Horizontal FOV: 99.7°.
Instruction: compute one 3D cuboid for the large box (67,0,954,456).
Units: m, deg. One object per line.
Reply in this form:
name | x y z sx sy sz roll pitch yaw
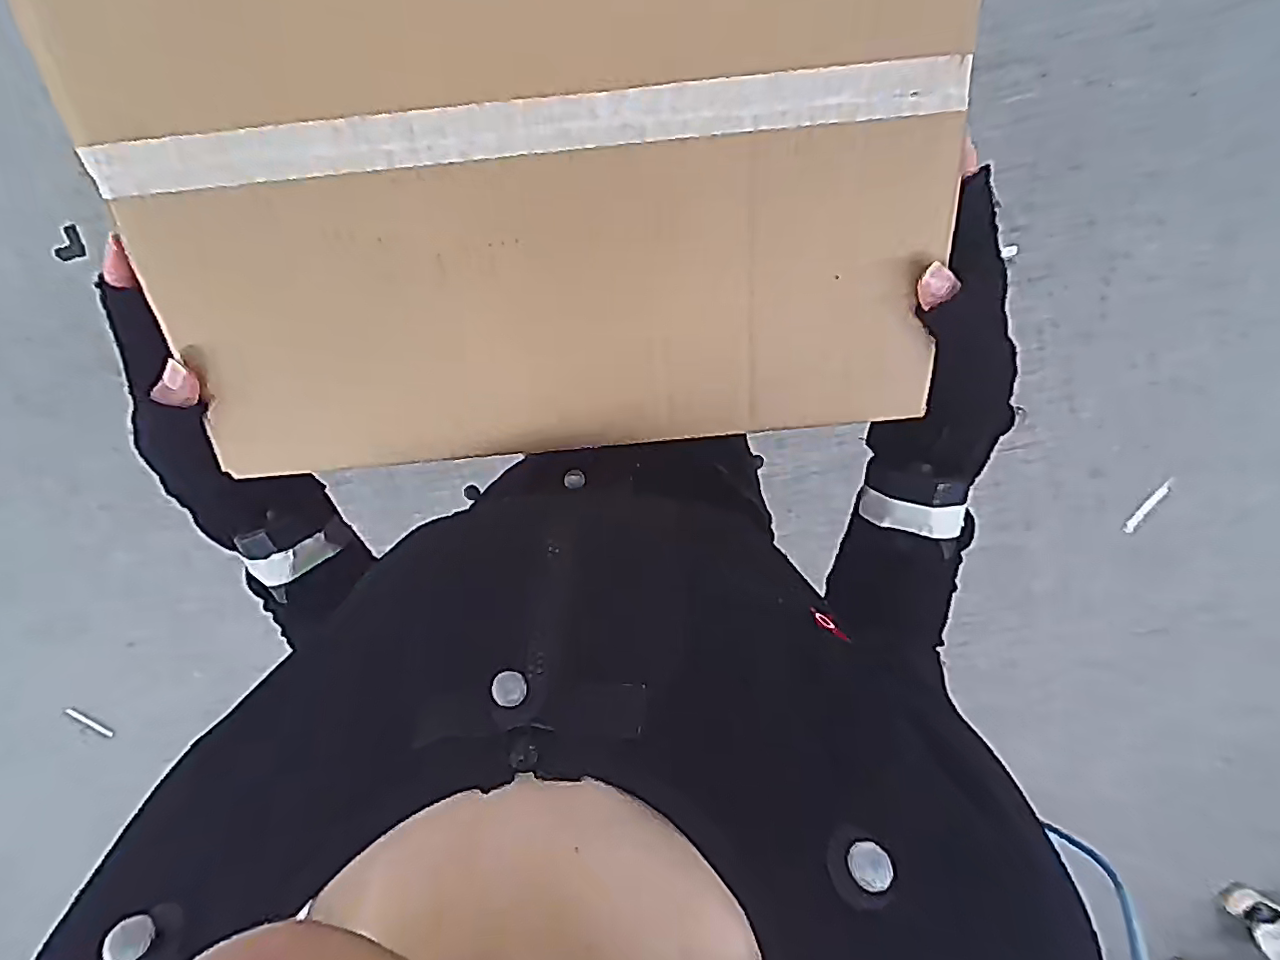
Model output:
large box | -0.057 -0.233 0.398 0.408 0.320 0.320 -6 115 1
